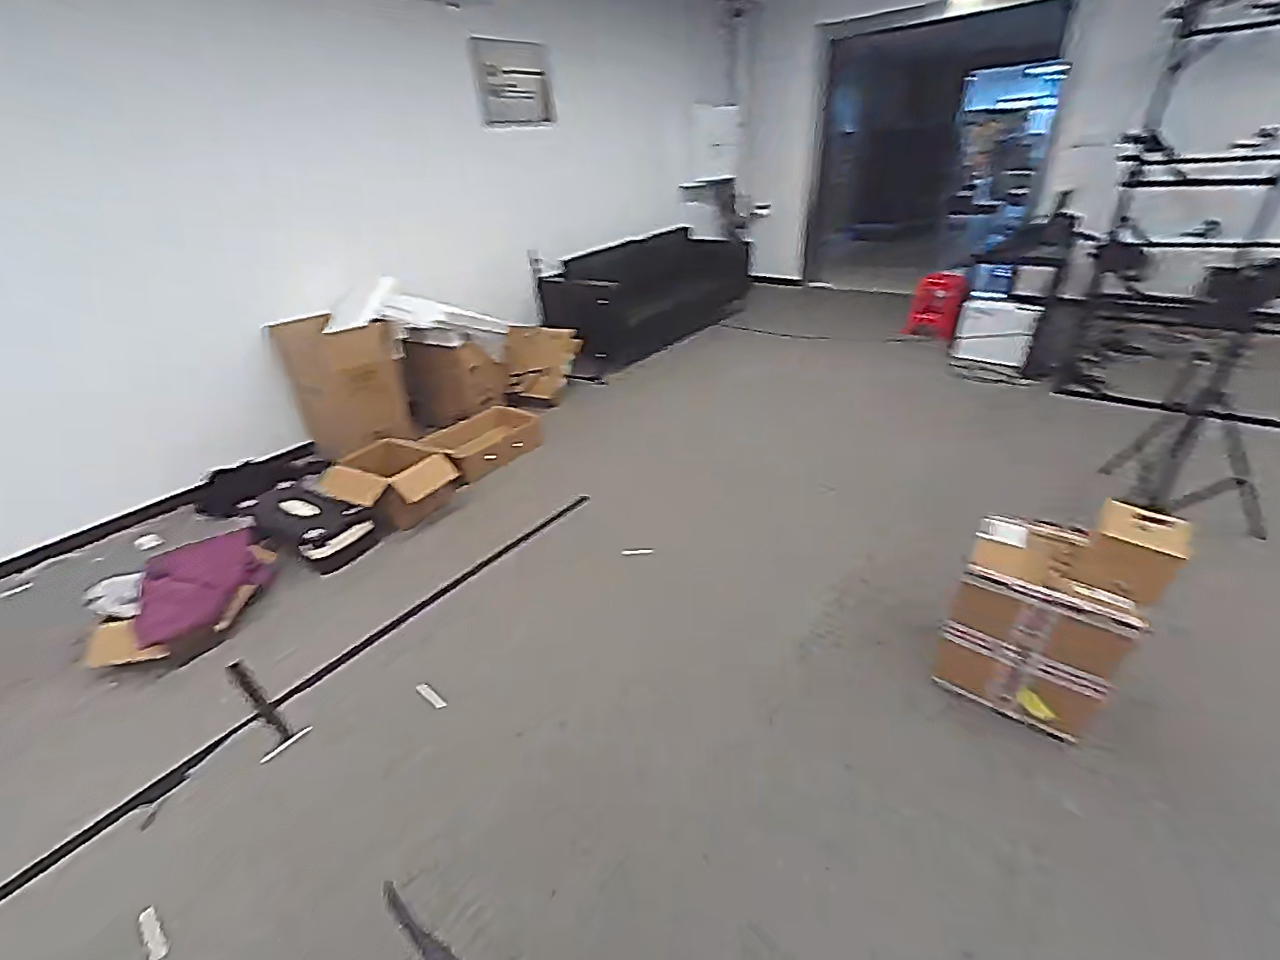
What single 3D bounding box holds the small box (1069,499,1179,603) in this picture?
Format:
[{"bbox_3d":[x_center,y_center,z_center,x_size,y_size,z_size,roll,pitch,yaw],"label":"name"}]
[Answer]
[{"bbox_3d":[1.262,0.184,1.417,0.168,0.176,0.179,23,43,34],"label":"small box"}]
